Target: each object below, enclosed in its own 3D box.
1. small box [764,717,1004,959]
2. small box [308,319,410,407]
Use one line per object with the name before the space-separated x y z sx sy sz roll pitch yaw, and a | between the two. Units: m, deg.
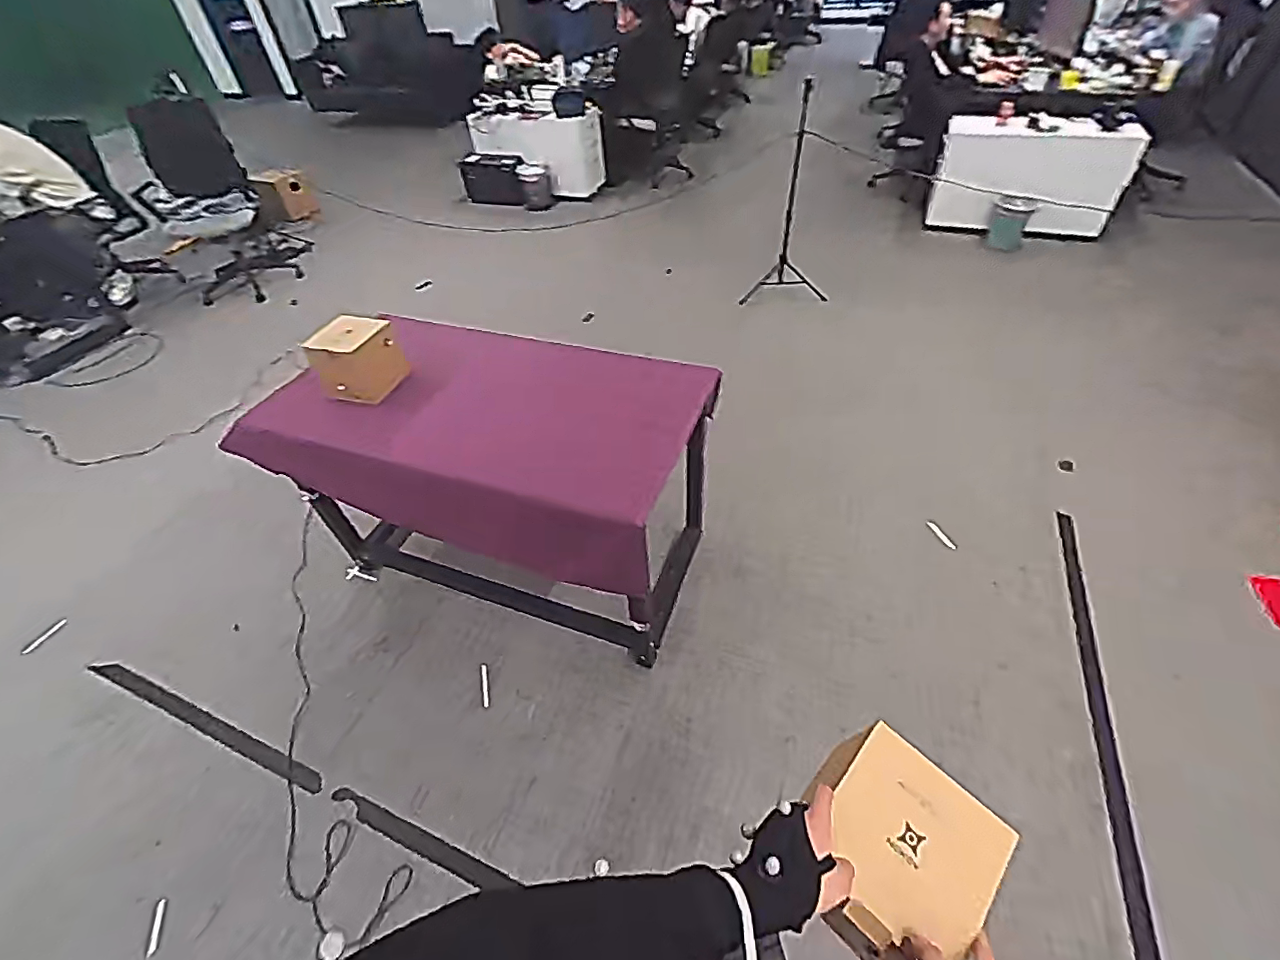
small box | 0.261 0.417 0.620 0.168 0.176 0.179 38 60 23
small box | -0.781 -0.332 1.533 0.168 0.176 0.179 10 48 15
